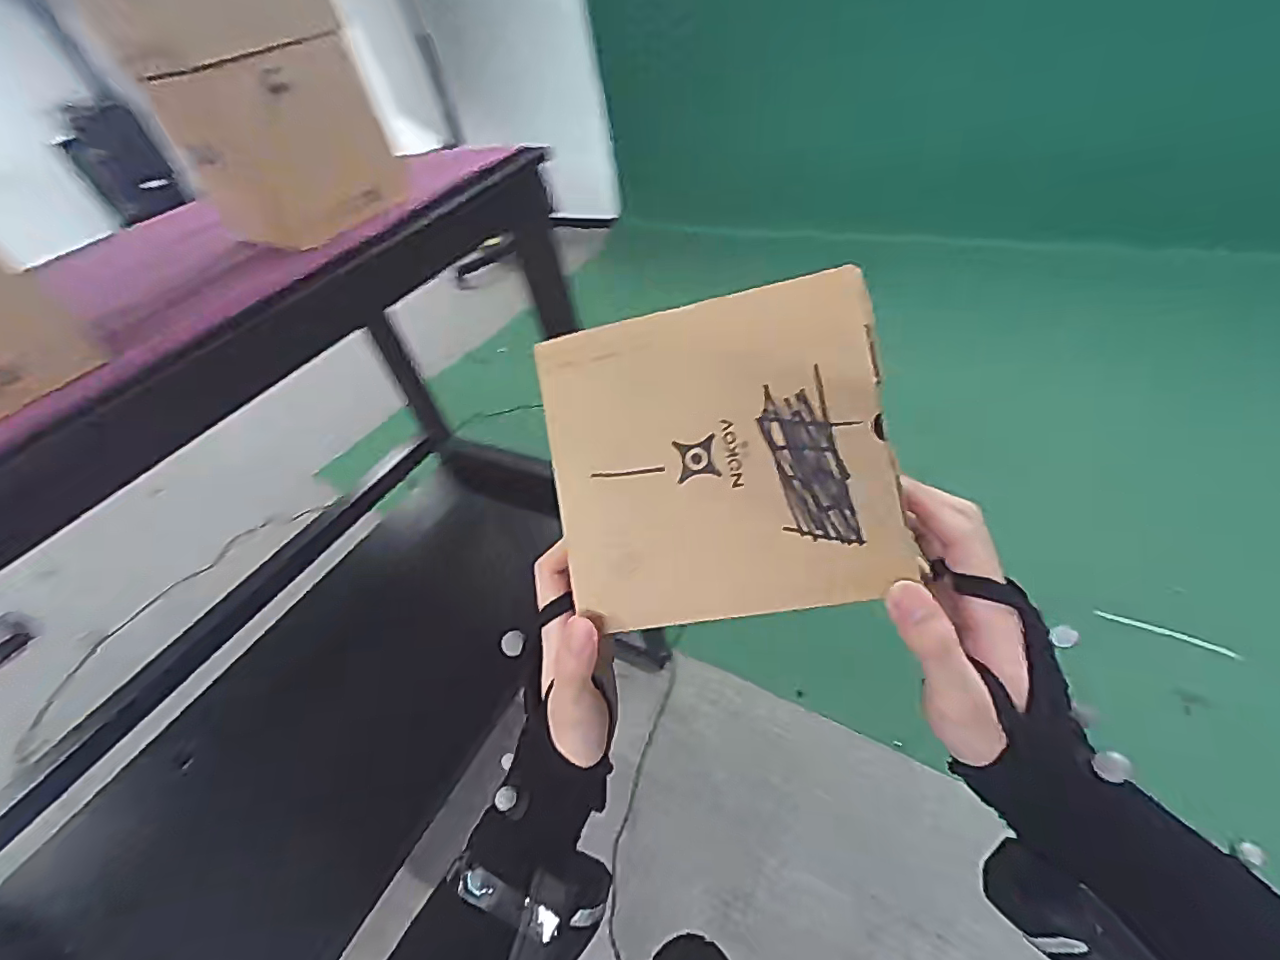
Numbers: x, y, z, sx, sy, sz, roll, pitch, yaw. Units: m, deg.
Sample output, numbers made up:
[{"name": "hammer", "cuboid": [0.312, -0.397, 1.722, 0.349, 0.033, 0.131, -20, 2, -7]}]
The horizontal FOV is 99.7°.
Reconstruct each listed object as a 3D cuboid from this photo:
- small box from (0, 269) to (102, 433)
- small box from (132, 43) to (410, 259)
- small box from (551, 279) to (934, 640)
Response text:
[{"name": "small box", "cuboid": [-0.589, -0.115, 0.413, 0.179, 0.176, 0.168, 17, 53, 29]}, {"name": "small box", "cuboid": [-0.412, -0.374, 0.629, 0.179, 0.176, 0.168, 18, 53, 30]}, {"name": "small box", "cuboid": [0.061, -0.004, 0.358, 0.179, 0.176, 0.168, -10, 85, 12]}]
